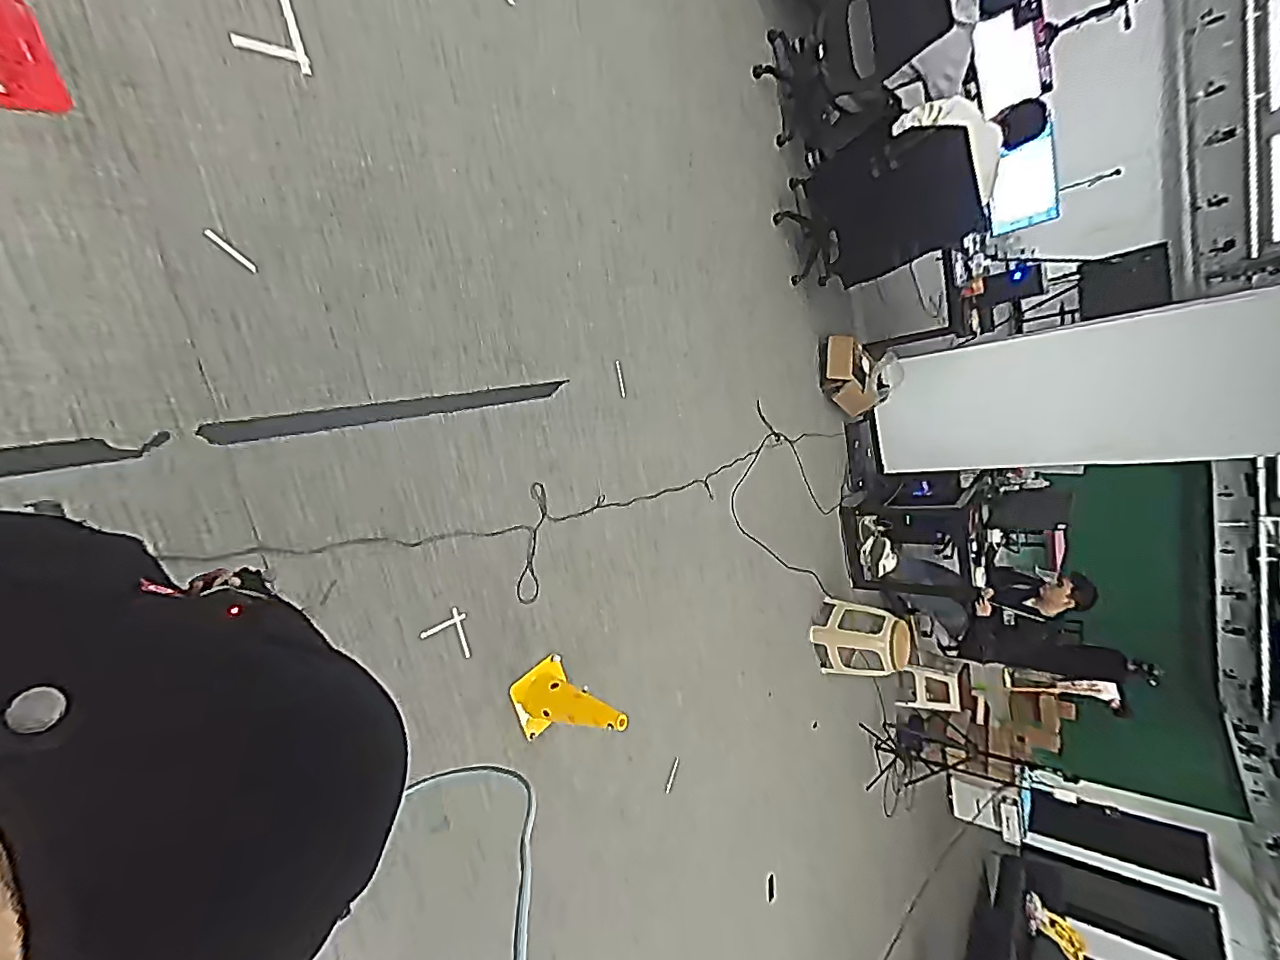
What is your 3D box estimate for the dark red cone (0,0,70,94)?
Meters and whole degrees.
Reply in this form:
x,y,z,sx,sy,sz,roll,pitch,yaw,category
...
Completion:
x,y,z,sx,sy,sz,roll,pitch,yaw,category
-0.974,-0.746,0.766,0.202,0.394,0.201,-31,111,-45,dark red cone
